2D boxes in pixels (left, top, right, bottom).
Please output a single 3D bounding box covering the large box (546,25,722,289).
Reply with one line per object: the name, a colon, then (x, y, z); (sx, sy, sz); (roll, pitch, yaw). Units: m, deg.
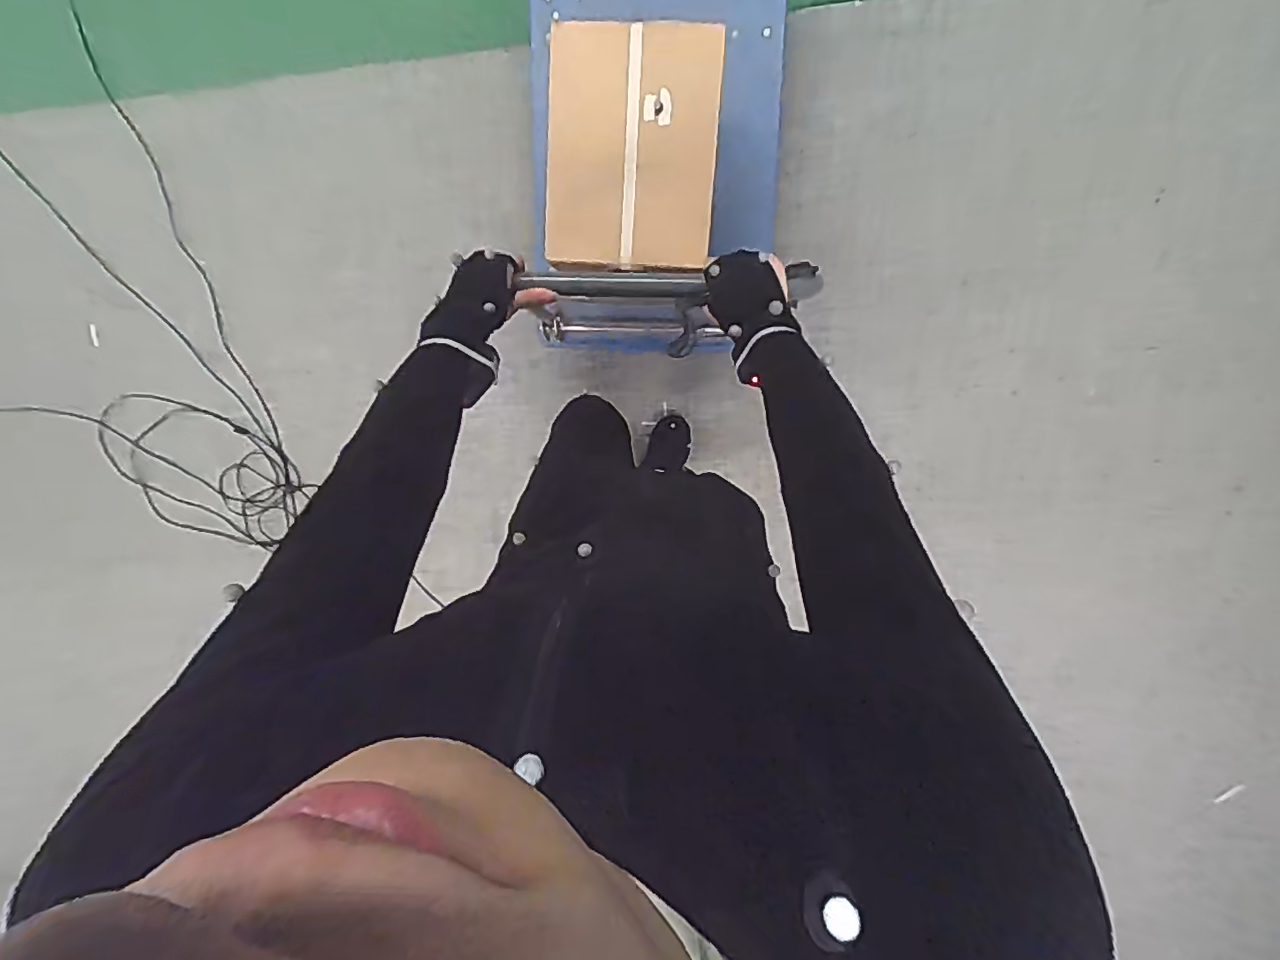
large box: (-0.006, -0.637, 1.143); (0.320, 0.320, 0.408); (5, 101, 3)
